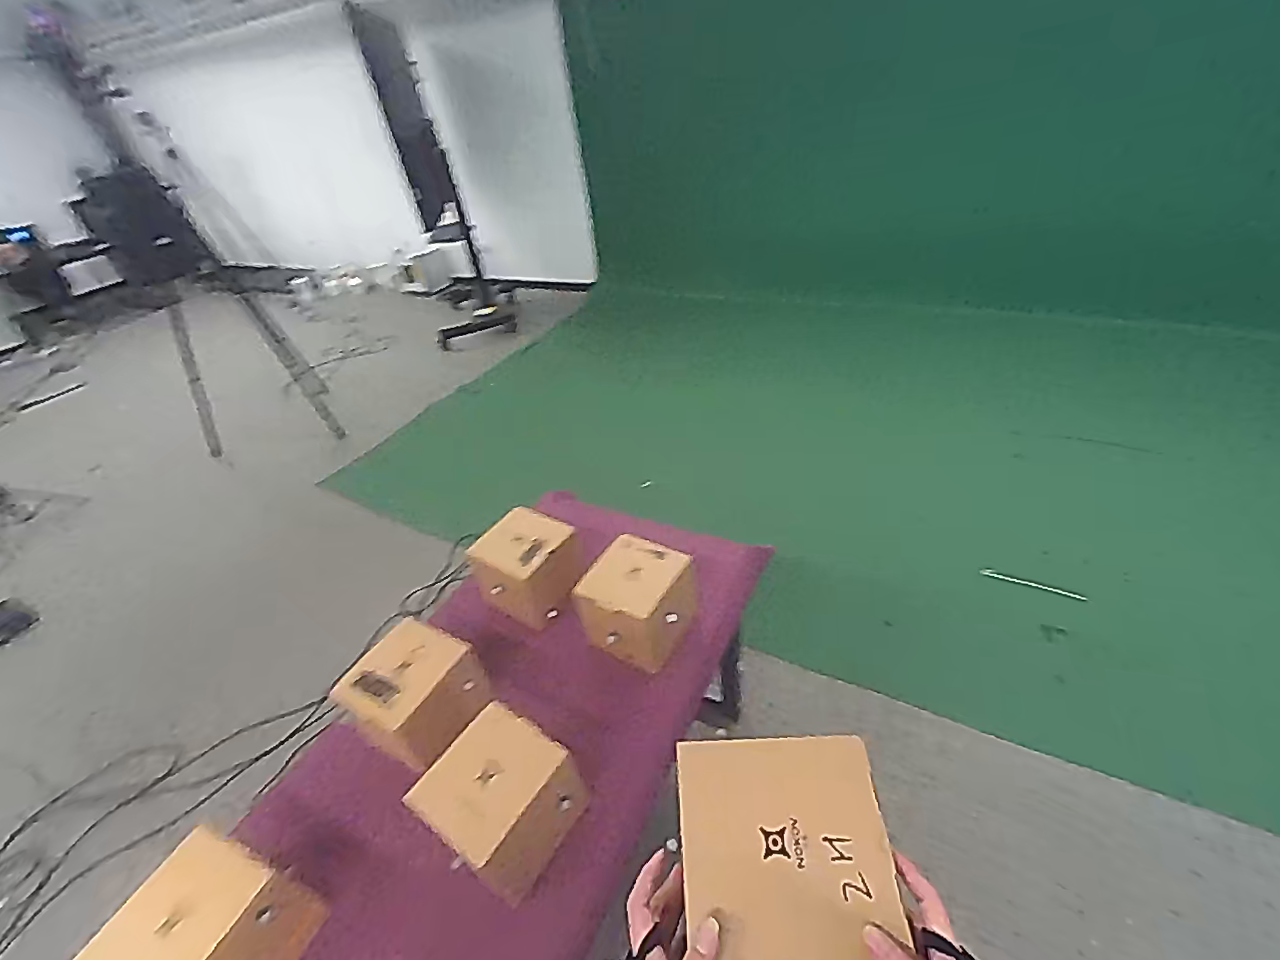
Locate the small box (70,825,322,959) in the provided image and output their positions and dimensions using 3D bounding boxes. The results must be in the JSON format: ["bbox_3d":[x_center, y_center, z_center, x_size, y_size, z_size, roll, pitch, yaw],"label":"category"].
[{"bbox_3d":[-0.576,0.614,0.720,0.168,0.176,0.179,10,40,22],"label":"small box"}]

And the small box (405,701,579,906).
[{"bbox_3d":[-0.209,0.483,0.816,0.168,0.176,0.179,18,46,32],"label":"small box"}]

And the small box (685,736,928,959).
[{"bbox_3d":[0.135,0.350,0.513,0.179,0.176,0.168,-3,54,3],"label":"small box"}]

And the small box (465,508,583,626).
[{"bbox_3d":[-0.247,0.194,1.195,0.179,0.176,0.168,17,44,30],"label":"small box"}]

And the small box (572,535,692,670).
[{"bbox_3d":[-0.006,0.244,1.081,0.168,0.176,0.179,16,45,30],"label":"small box"}]
